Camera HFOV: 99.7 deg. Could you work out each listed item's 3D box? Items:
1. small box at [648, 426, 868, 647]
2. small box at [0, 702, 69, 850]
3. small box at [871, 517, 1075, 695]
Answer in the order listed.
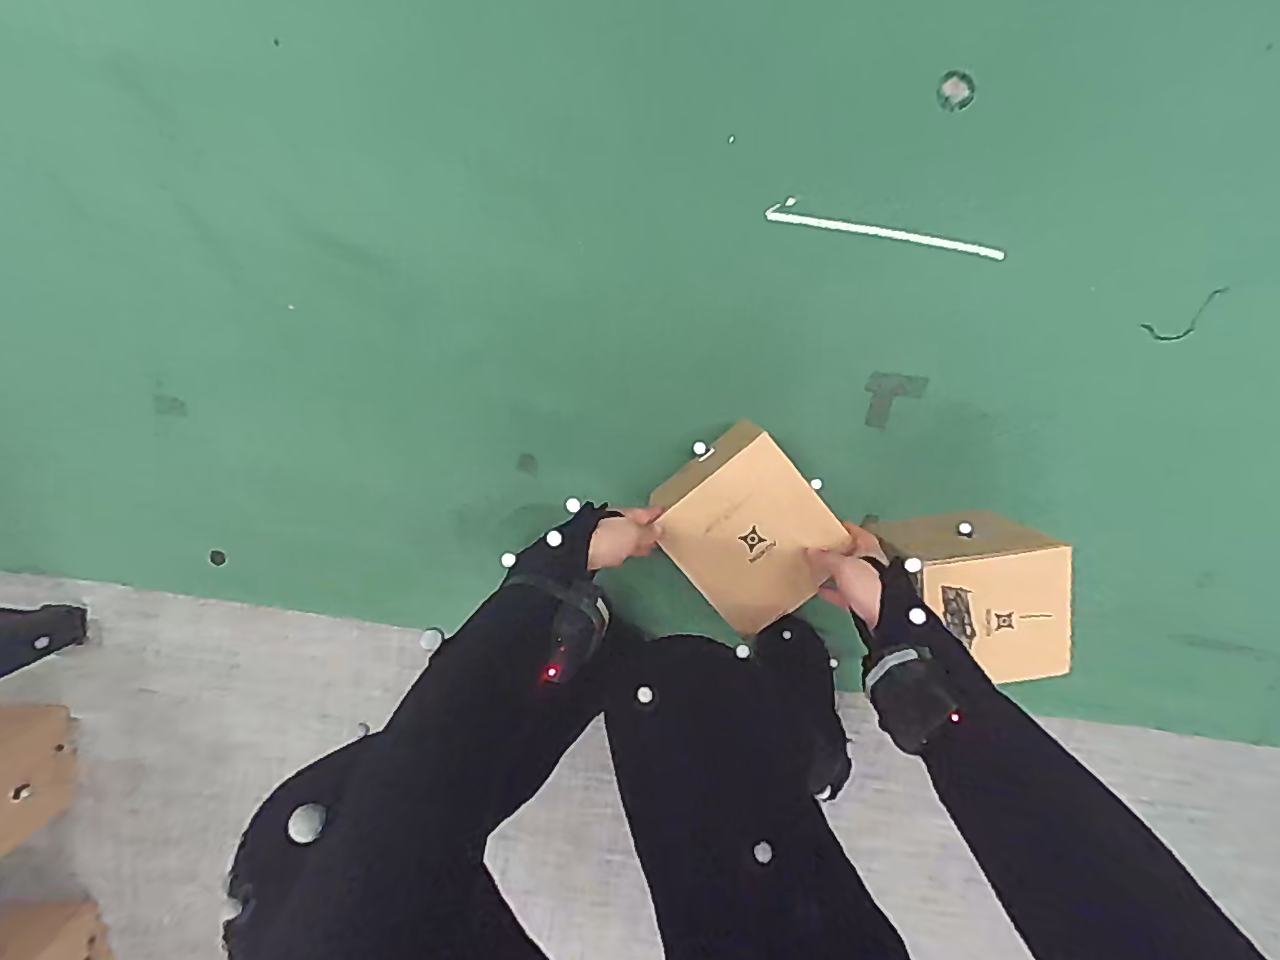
[{"bbox_3d":[0.129,0.053,0.643,0.168,0.176,0.179,-39,97,10],"label":"small box"},{"bbox_3d":[-0.984,0.438,0.777,0.179,0.176,0.168,4,101,0],"label":"small box"},{"bbox_3d":[0.418,0.154,0.709,0.179,0.176,0.168,-7,101,1],"label":"small box"}]
